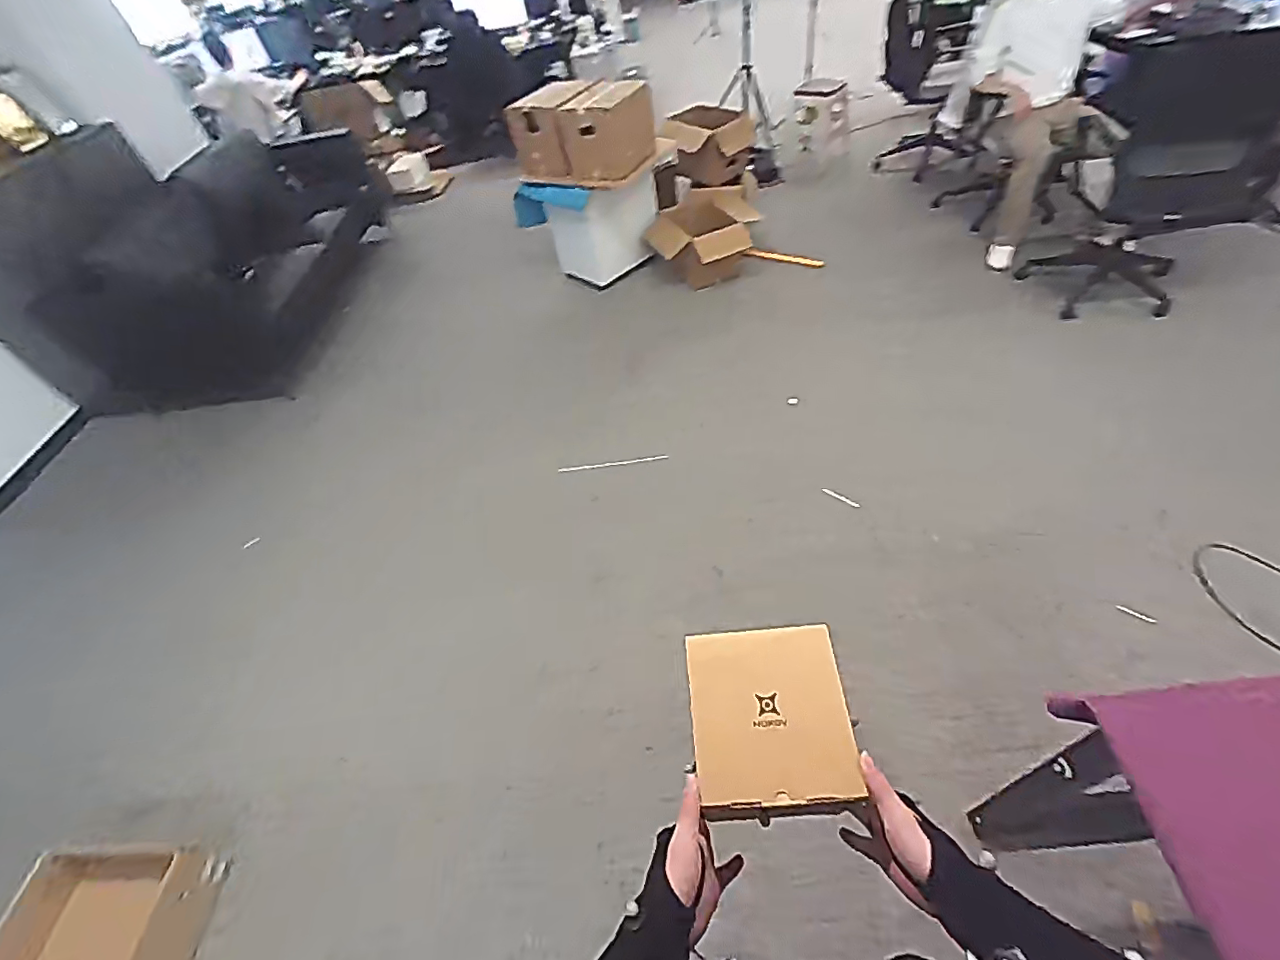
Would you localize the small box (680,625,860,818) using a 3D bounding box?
[{"bbox_3d":[0.138,0.290,0.642,0.168,0.176,0.179,-7,55,4],"label":"small box"}]
